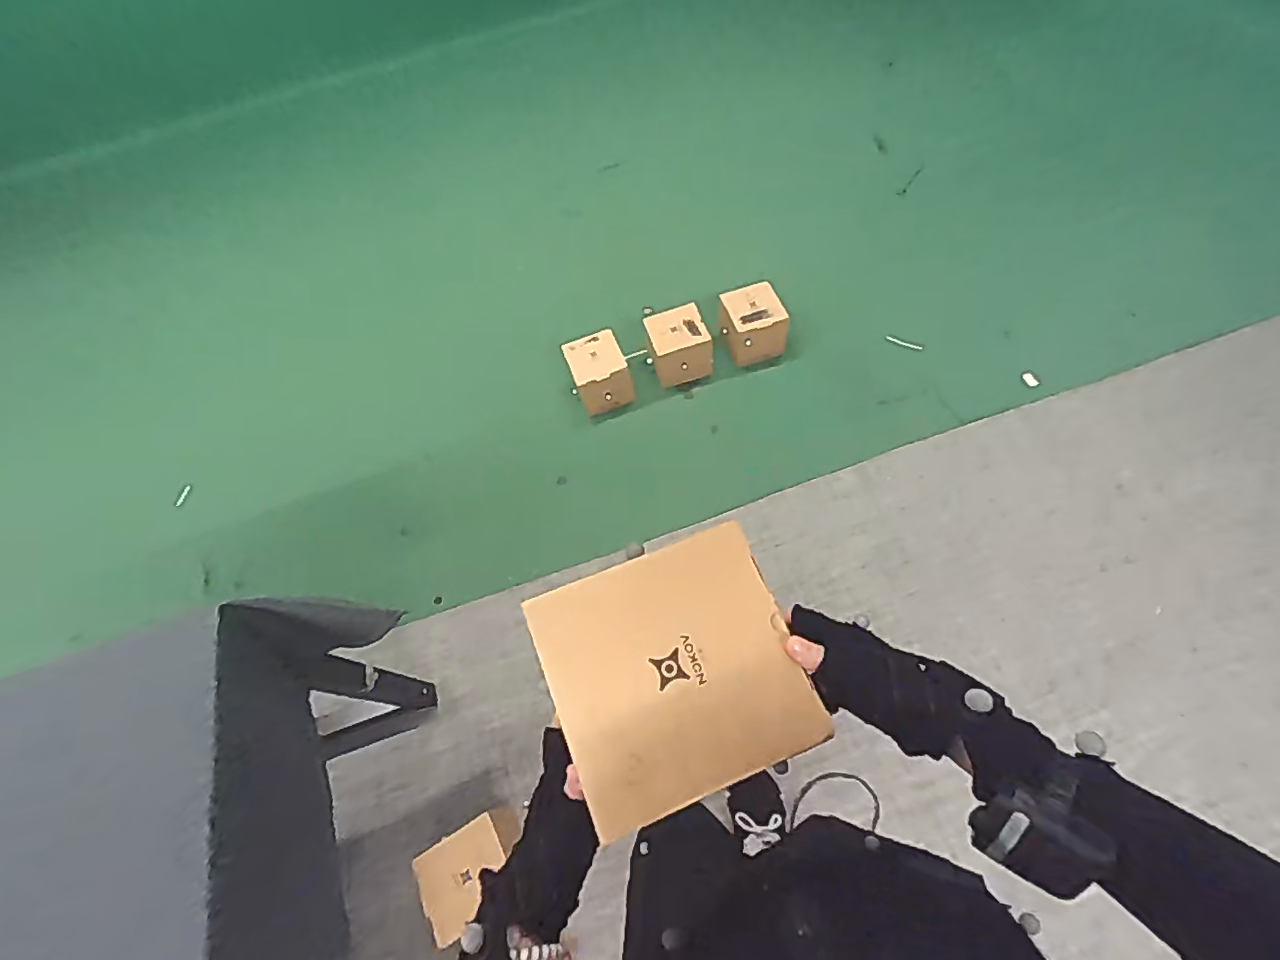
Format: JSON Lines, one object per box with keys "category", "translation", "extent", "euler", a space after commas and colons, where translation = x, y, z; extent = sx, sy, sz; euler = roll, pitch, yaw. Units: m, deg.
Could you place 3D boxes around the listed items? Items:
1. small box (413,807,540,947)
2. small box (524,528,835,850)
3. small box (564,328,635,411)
{"category": "small box", "translation": [-0.337, 0.820, 1.137], "extent": [0.179, 0.176, 0.168], "euler": [-30, 64, -8]}
{"category": "small box", "translation": [0.021, 0.162, 0.450], "extent": [0.179, 0.176, 0.168], "euler": [-19, 73, -10]}
{"category": "small box", "translation": [-0.124, -0.341, 1.711], "extent": [0.168, 0.176, 0.179], "euler": [-20, 63, -3]}
